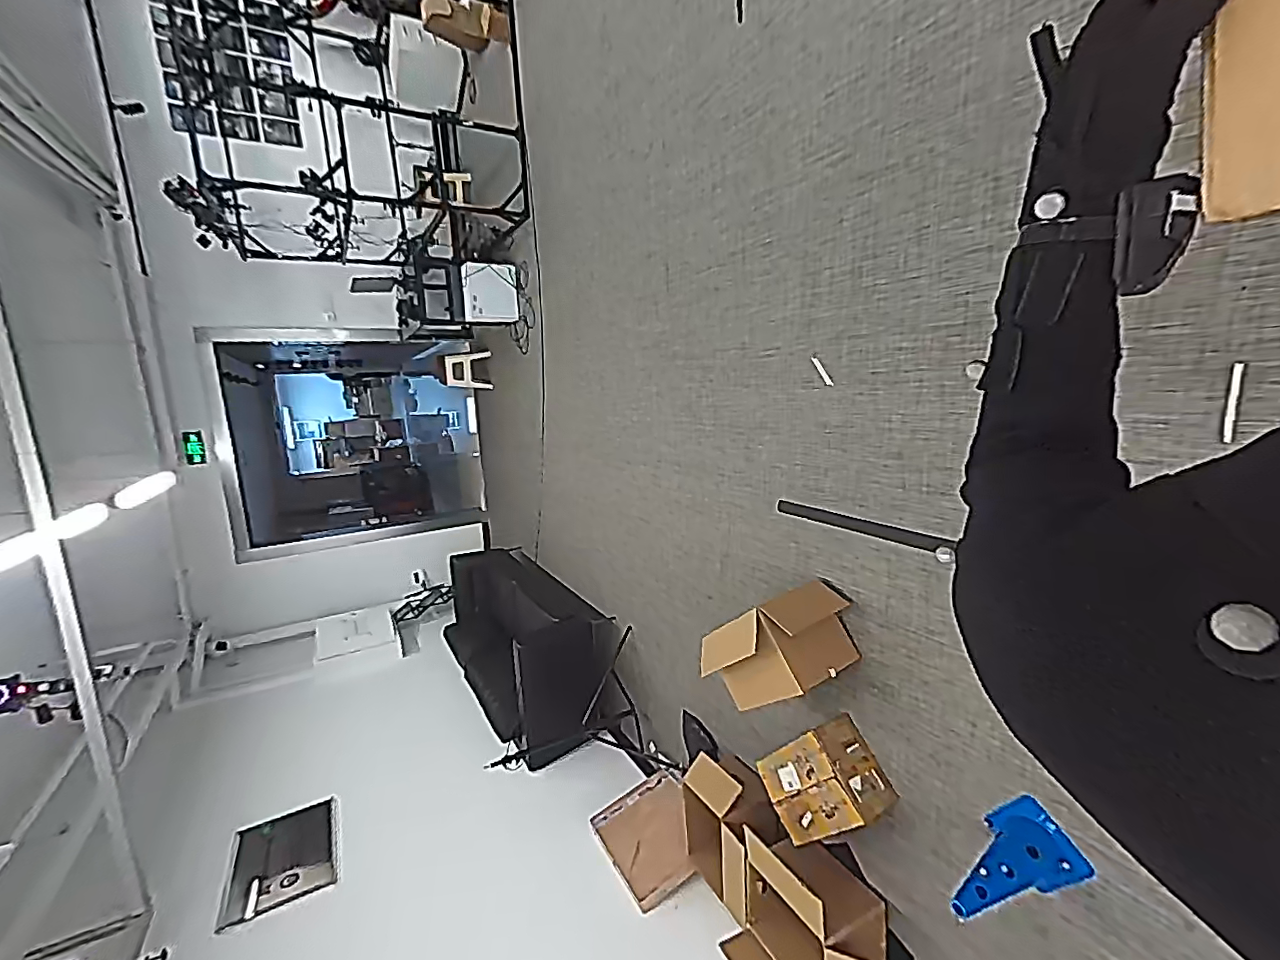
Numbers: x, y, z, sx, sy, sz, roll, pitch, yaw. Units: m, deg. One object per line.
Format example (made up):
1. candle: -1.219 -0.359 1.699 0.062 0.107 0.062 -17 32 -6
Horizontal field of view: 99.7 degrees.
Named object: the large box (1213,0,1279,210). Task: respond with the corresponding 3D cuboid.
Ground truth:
1. large box: 0.535 -0.334 0.199 0.408 0.320 0.320 7 113 58
